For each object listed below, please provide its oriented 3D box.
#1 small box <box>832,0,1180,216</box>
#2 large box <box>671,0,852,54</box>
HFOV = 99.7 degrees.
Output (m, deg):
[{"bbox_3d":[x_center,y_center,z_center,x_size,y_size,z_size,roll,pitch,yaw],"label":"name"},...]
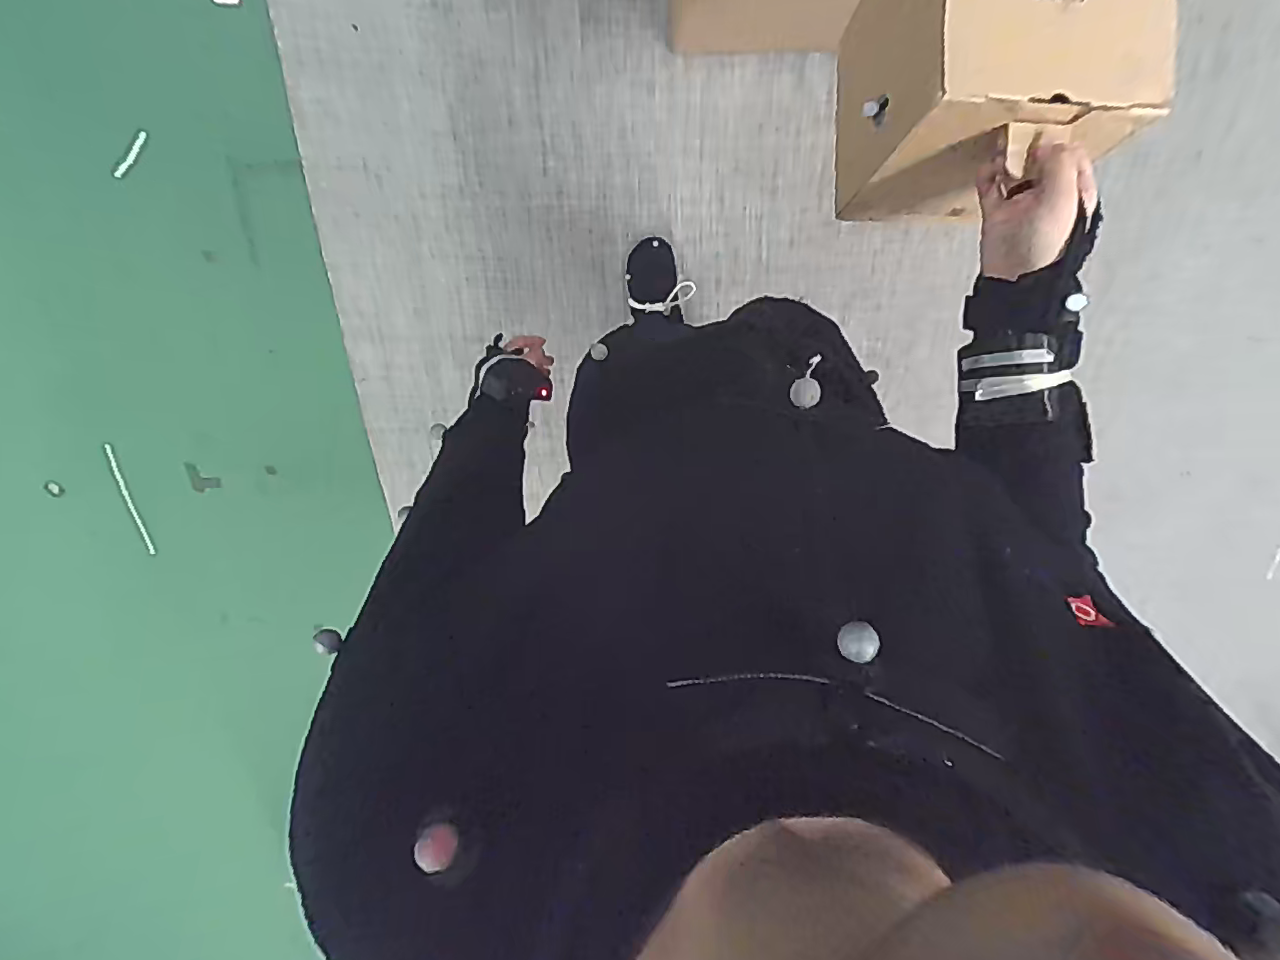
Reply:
[{"bbox_3d":[0.267,-0.335,0.431,0.168,0.176,0.179,0,88,-4],"label":"small box"},{"bbox_3d":[0.257,-0.926,0.863,0.408,0.320,0.320,-4,114,-1],"label":"large box"}]
